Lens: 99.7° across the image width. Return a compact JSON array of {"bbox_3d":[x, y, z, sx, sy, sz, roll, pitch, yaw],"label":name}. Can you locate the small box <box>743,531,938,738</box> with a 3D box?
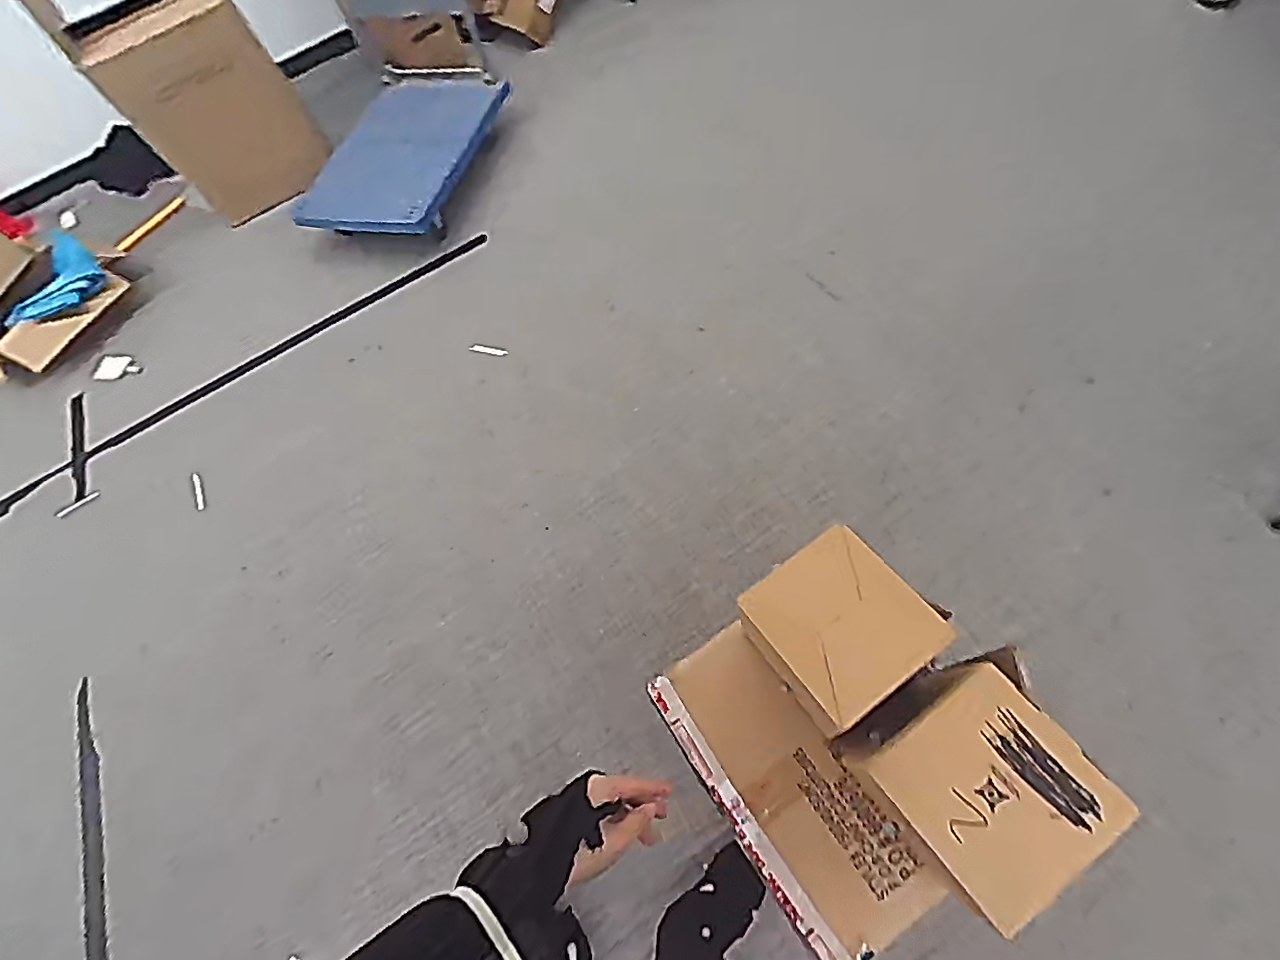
[{"bbox_3d":[0.243,0.197,0.684,0.168,0.176,0.179,-35,61,-7],"label":"small box"}]
